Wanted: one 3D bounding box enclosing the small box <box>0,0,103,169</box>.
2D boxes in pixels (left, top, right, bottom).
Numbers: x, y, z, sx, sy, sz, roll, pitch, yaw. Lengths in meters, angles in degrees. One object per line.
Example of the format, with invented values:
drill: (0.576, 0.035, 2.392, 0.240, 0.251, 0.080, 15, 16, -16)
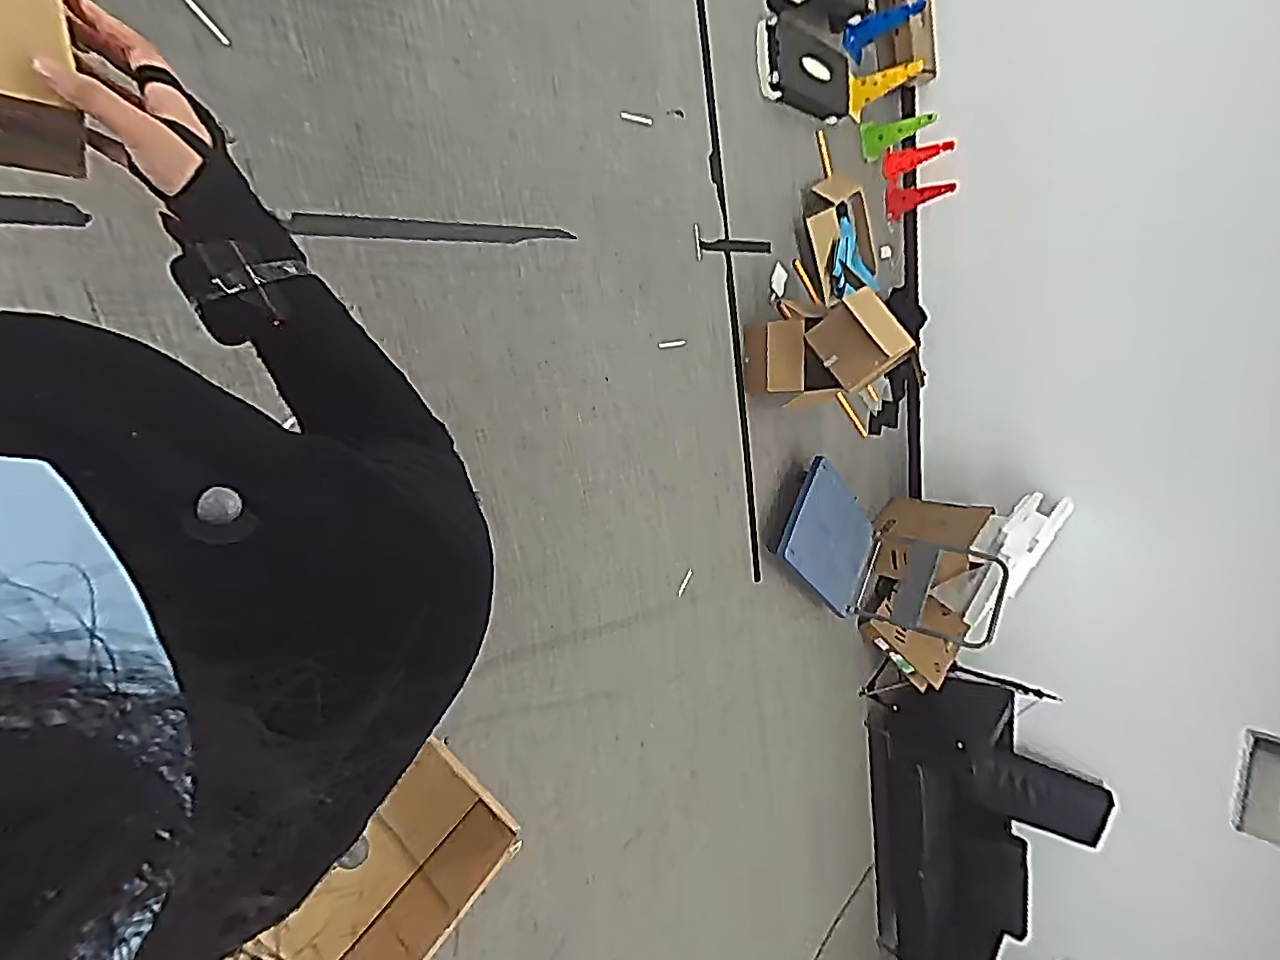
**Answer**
small box: (-0.473, -0.318, 0.338, 0.179, 0.176, 0.168, -11, 105, -43)
